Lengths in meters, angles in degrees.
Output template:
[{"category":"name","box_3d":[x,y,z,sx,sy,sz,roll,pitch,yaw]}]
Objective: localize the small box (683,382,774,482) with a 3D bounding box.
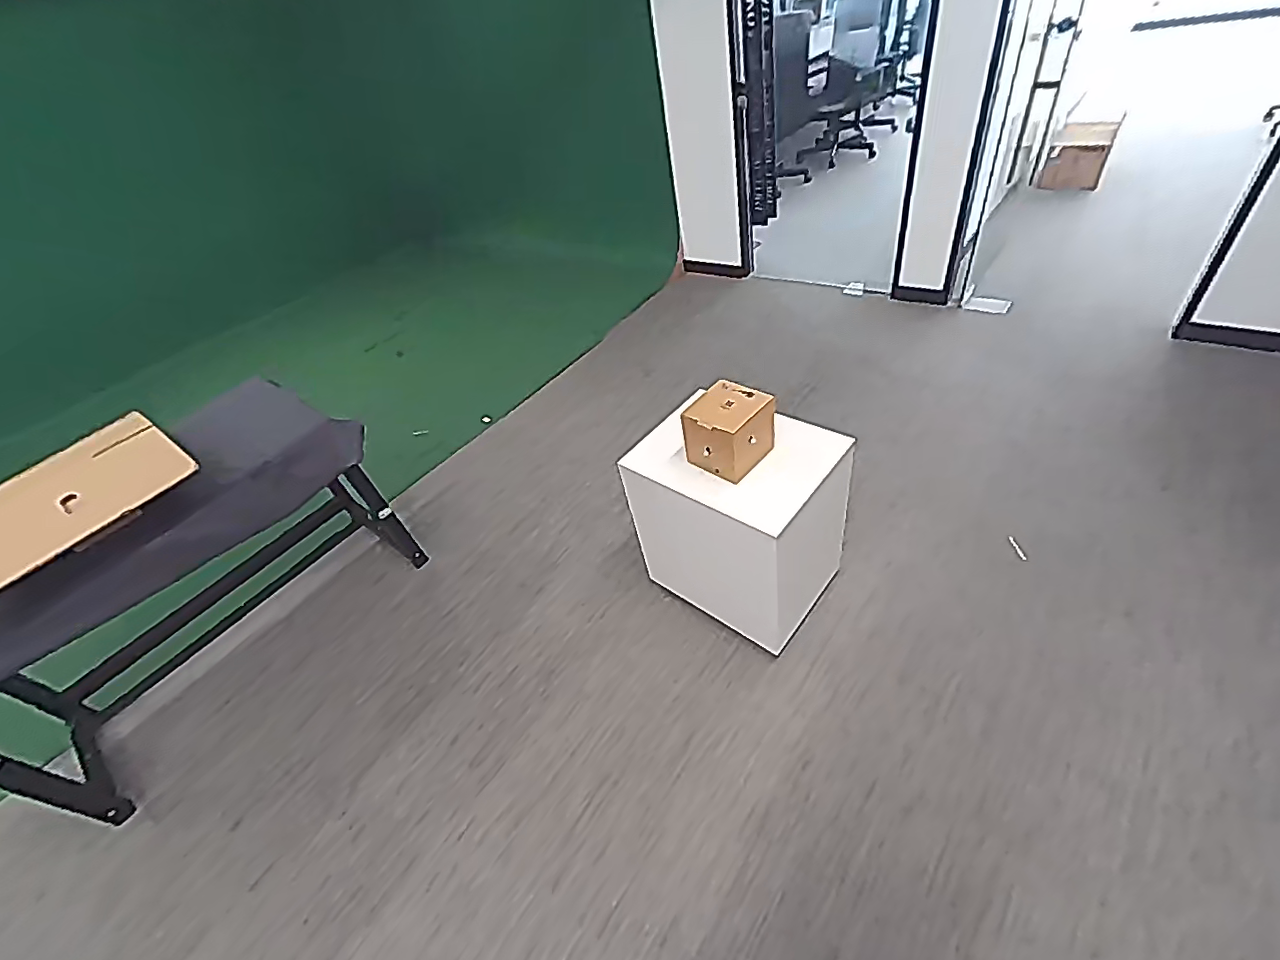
[{"category":"small box","box_3d":[0.237,-0.124,1.404,0.168,0.176,0.179,25,54,35]}]
